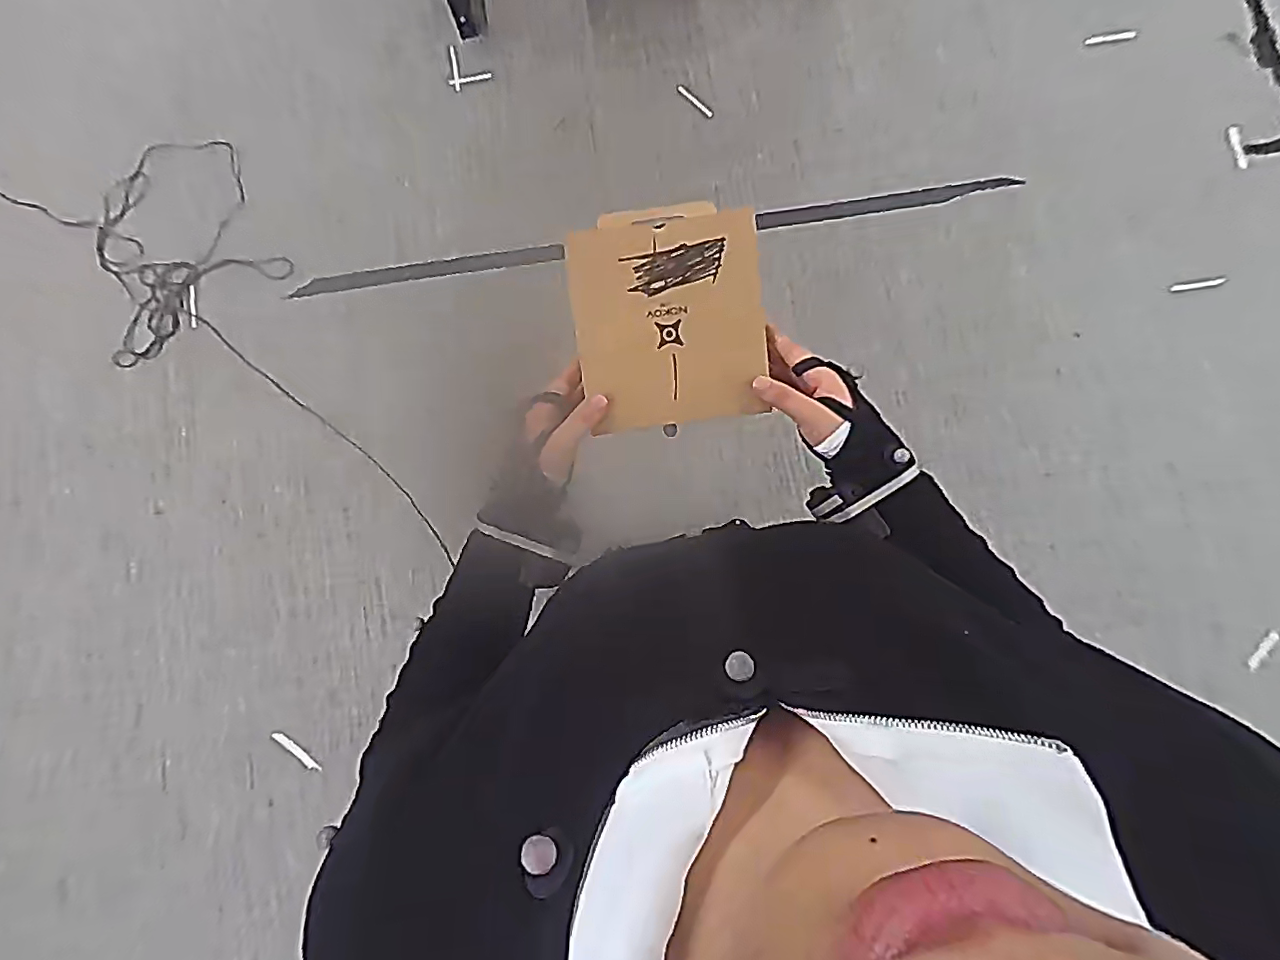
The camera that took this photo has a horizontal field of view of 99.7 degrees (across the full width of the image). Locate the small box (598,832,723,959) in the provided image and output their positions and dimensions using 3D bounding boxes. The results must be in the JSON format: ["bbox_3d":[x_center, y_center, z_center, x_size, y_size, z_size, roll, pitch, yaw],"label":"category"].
[{"bbox_3d":[0.037,0.722,0.898,0.179,0.176,0.168,-10,83,1],"label":"small box"}]

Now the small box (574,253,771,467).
[{"bbox_3d":[0.030,-0.115,0.563,0.168,0.176,0.179,-7,98,1],"label":"small box"}]
